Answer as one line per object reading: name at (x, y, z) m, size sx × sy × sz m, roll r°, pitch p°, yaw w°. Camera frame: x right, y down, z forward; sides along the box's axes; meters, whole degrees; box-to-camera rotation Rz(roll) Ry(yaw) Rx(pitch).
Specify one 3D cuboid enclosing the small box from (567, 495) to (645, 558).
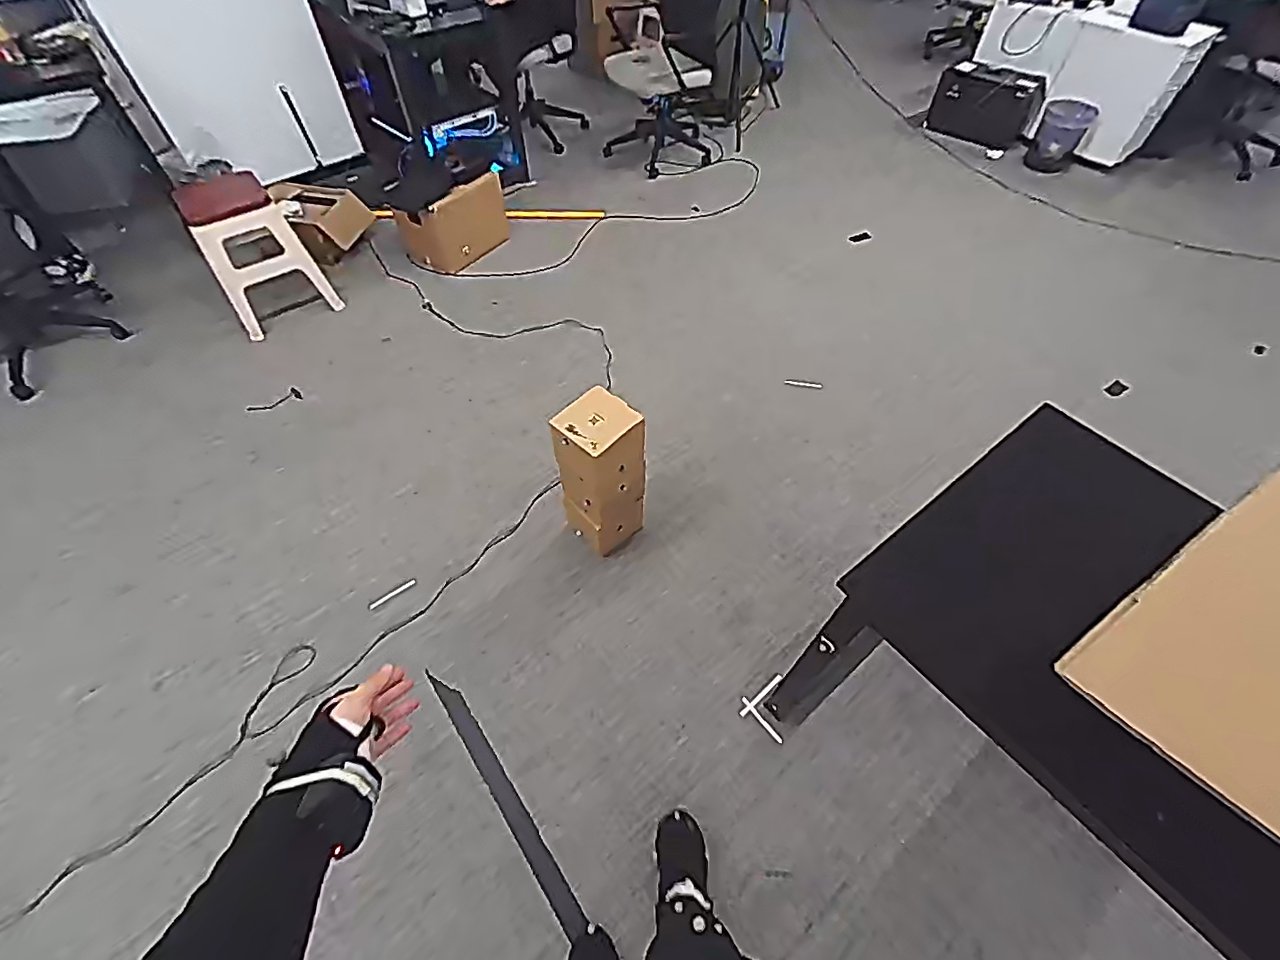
small box at (-0.103, 0.104, 1.652) m, size 0.179 × 0.176 × 0.168 m, roll -37°, pitch 62°, yaw -23°

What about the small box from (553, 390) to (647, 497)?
small box at (-0.101, -0.091, 1.390) m, size 0.168 × 0.176 × 0.179 m, roll 37°, pitch 61°, yaw 23°

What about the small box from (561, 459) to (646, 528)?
small box at (-0.099, 0.003, 1.525) m, size 0.168 × 0.176 × 0.179 m, roll 39°, pitch 61°, yaw 24°
